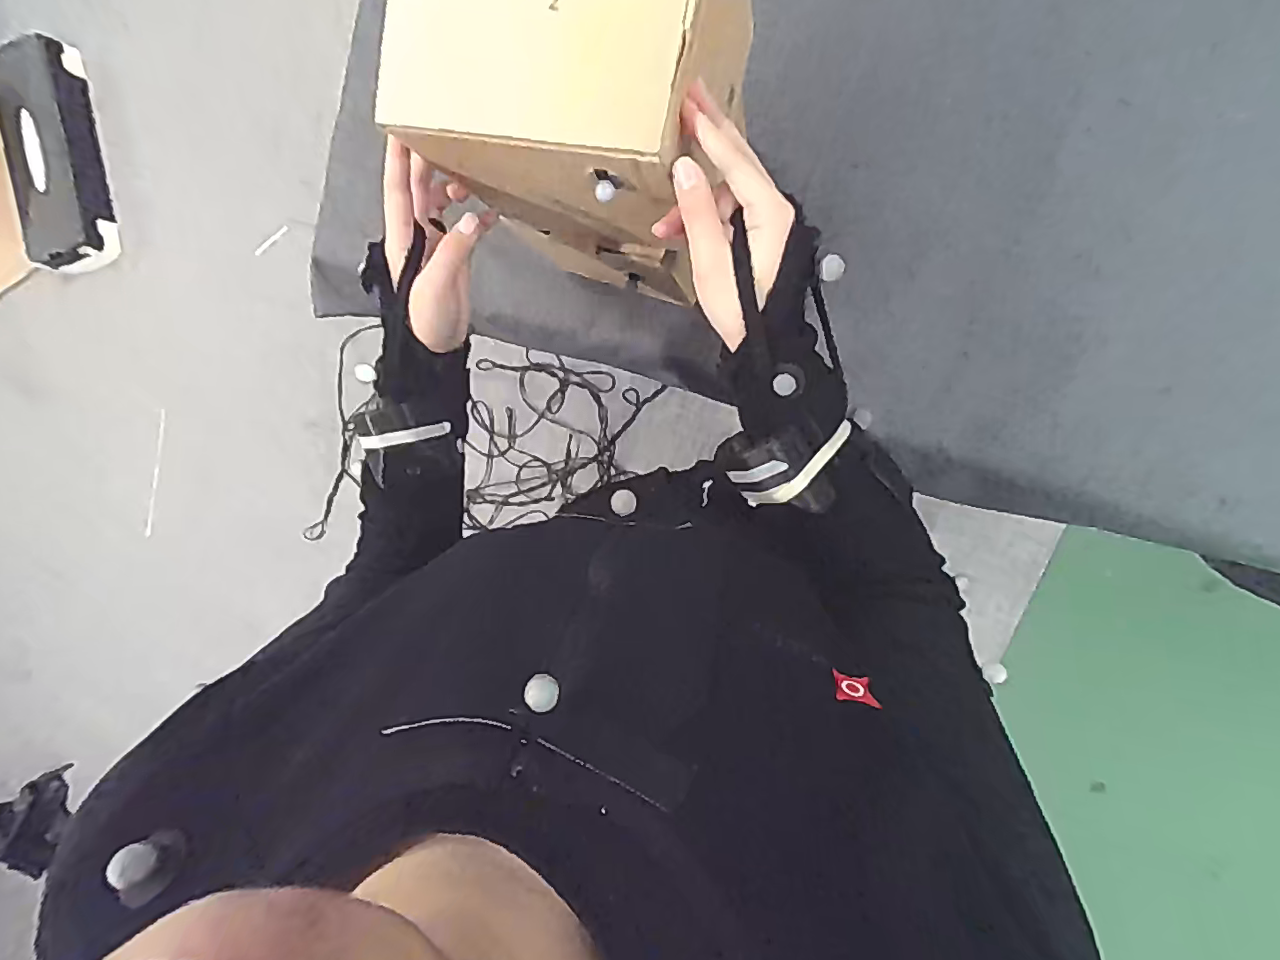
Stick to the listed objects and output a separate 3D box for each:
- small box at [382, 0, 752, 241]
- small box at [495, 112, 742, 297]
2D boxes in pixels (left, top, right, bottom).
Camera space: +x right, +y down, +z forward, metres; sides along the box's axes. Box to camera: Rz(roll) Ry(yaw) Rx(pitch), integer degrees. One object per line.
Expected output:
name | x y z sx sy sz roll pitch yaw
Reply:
small box | -0.031 -0.275 0.357 0.179 0.176 0.168 13 99 11
small box | -0.007 -0.294 0.517 0.168 0.176 0.179 21 100 10
